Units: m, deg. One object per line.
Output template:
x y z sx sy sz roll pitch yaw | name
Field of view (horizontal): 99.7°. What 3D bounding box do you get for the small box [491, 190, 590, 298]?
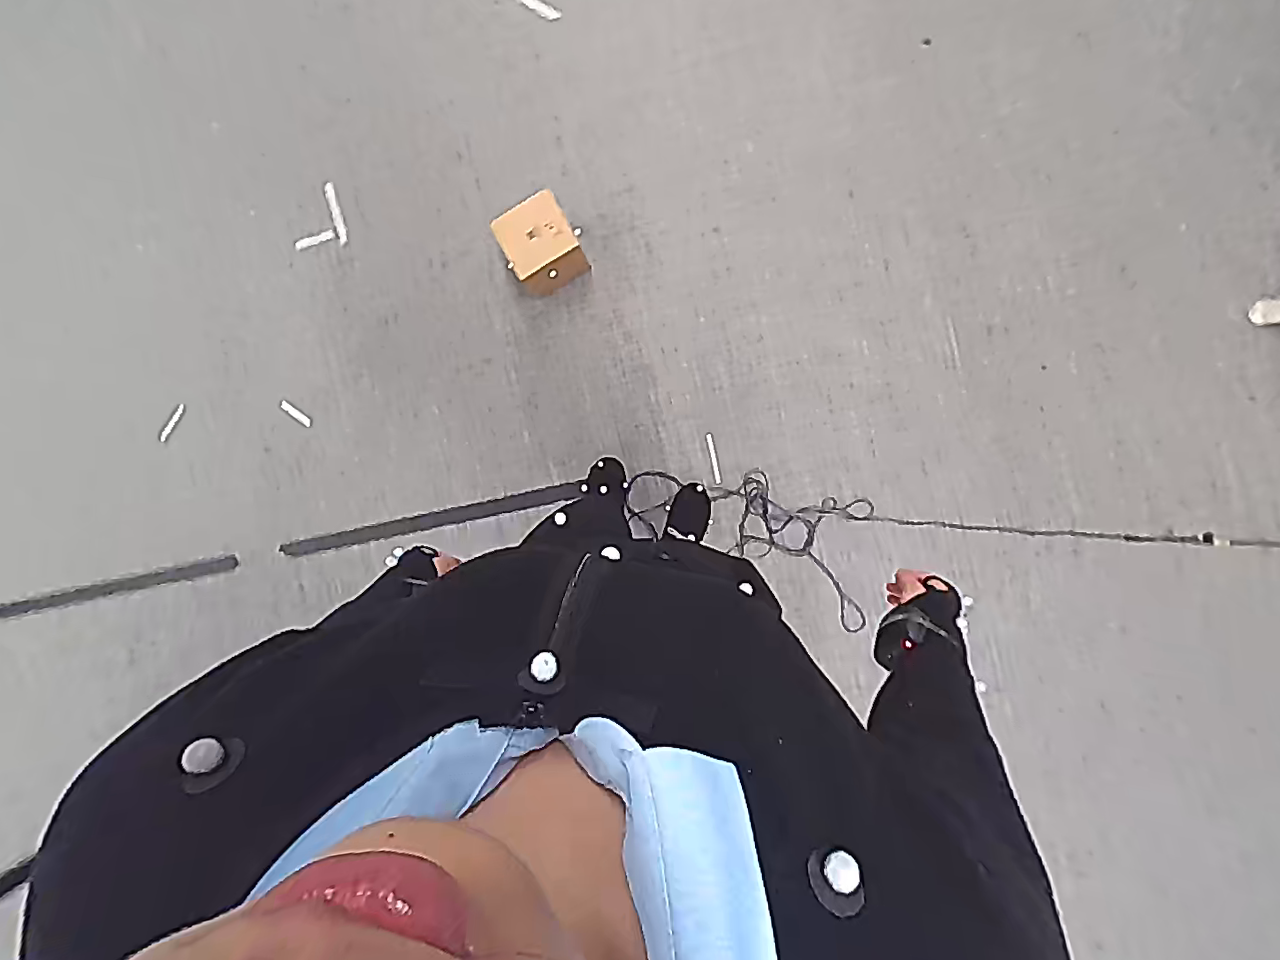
-0.250 -0.603 1.408 0.179 0.176 0.168 -29 89 5 | small box
